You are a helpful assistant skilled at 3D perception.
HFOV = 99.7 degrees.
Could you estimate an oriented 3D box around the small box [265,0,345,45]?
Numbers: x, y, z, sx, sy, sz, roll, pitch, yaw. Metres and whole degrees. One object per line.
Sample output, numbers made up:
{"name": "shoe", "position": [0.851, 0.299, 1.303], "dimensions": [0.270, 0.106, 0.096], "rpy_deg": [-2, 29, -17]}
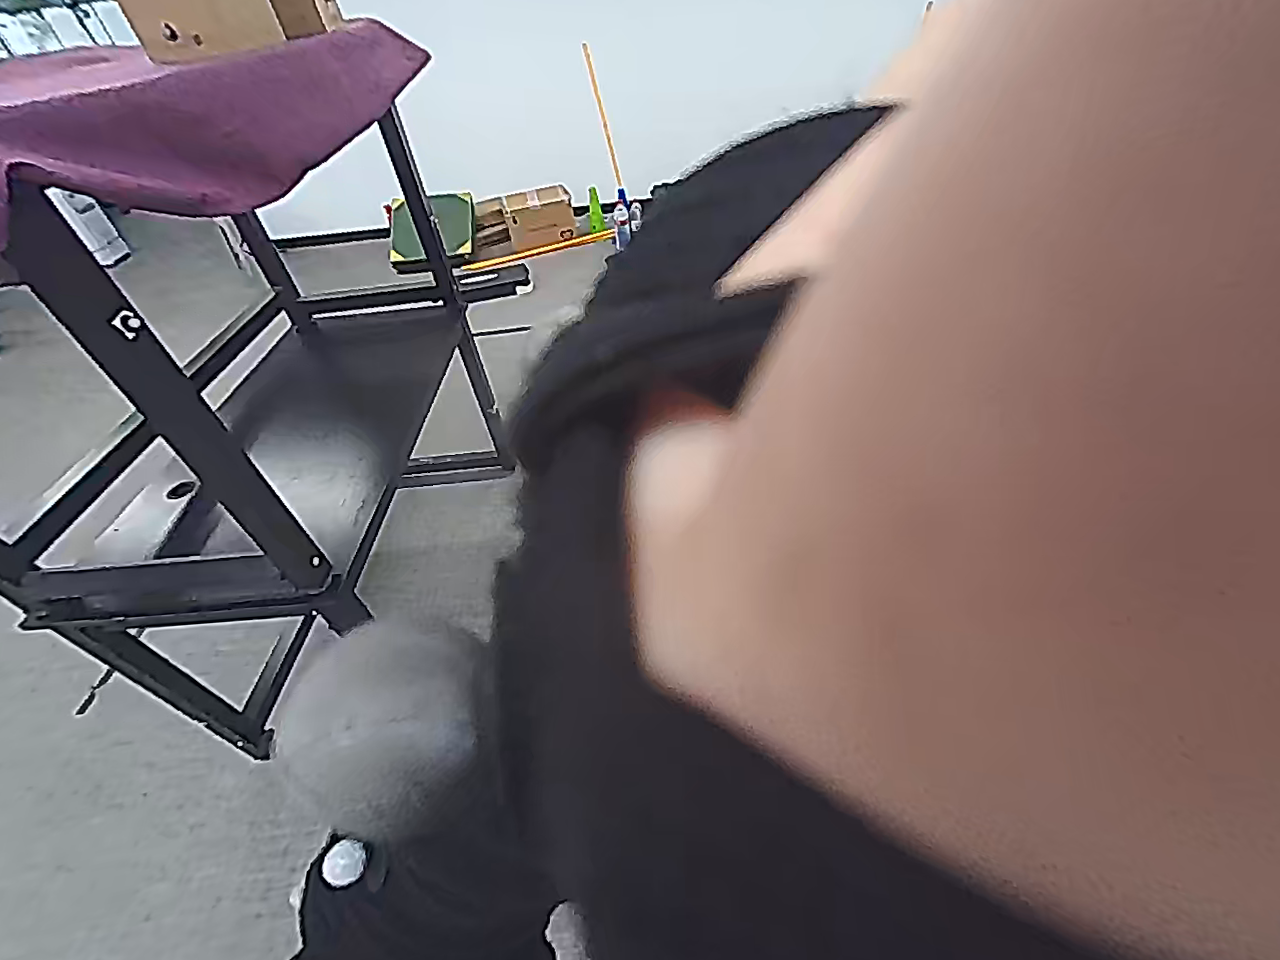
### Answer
{"name": "small box", "position": [-0.778, -1.050, 1.163], "dimensions": [0.179, 0.176, 0.168], "rpy_deg": [-10, 44, -2]}

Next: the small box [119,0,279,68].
{"name": "small box", "position": [-0.778, -0.838, 0.944], "dimensions": [0.168, 0.176, 0.179], "rpy_deg": [-3, 44, 5]}
